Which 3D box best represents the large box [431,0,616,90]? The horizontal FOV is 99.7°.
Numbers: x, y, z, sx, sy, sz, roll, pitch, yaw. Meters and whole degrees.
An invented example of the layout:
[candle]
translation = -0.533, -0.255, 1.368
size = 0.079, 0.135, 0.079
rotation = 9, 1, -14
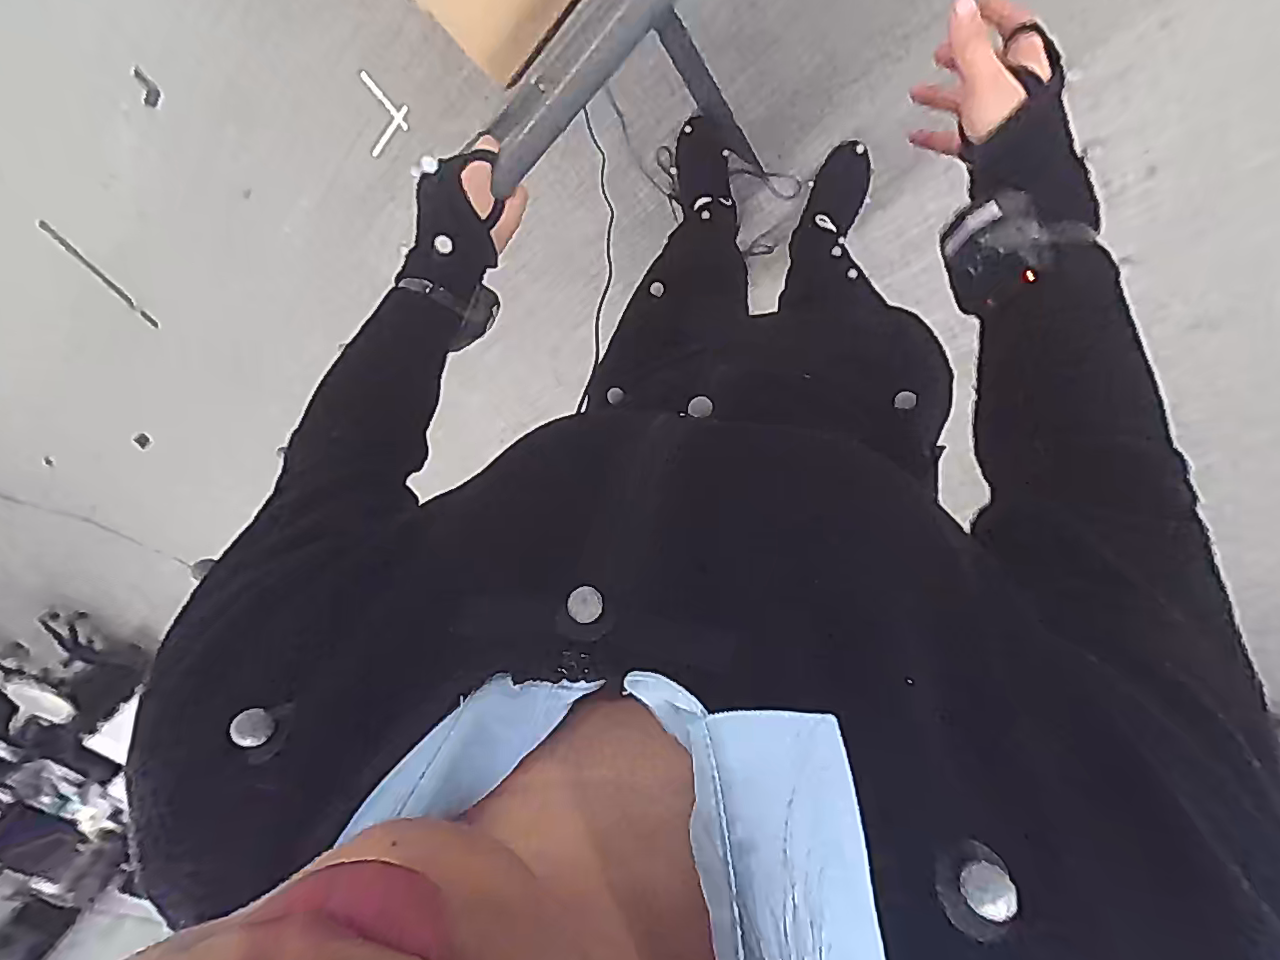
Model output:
[large box]
translation = -0.125, -0.832, 0.715
size = 0.408, 0.320, 0.320
rotation = -30, 121, 32
